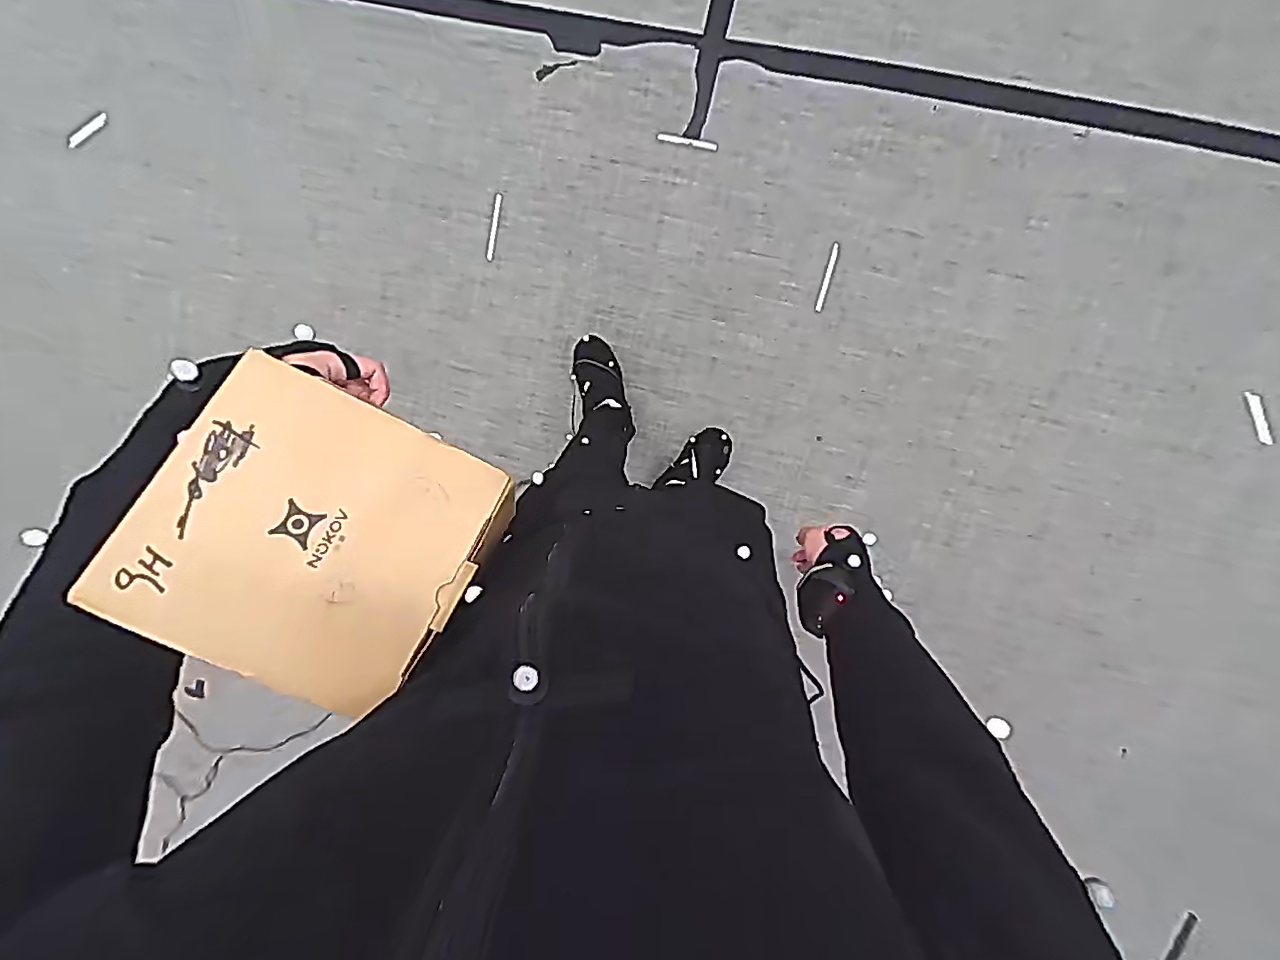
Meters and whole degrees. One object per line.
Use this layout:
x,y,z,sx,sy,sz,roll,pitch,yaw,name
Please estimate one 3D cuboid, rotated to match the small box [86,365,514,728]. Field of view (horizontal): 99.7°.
-0.209,0.050,0.399,0.179,0.176,0.168,27,74,-8,small box
